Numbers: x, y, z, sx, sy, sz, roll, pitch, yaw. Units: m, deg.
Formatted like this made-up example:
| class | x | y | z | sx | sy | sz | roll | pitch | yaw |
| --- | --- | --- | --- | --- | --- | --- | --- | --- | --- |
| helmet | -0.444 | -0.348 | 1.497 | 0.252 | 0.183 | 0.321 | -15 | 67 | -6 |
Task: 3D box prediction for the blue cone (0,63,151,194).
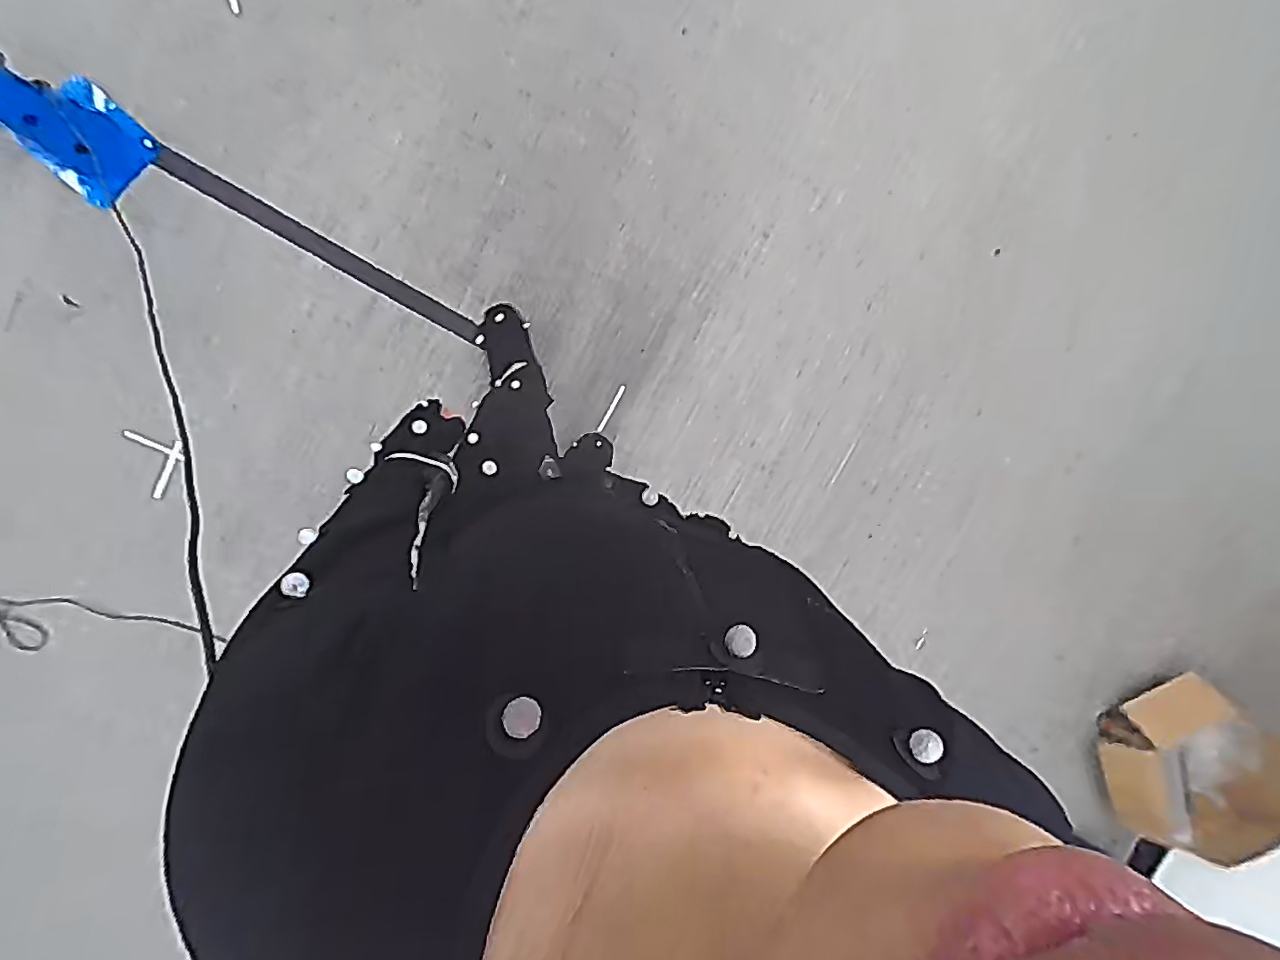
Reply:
| class | x | y | z | sx | sy | sz | roll | pitch | yaw |
| --- | --- | --- | --- | --- | --- | --- | --- | --- | --- |
| blue cone | -1.150 | -0.702 | 0.987 | 0.192 | 0.380 | 0.193 | -46 | 104 | -1 |
